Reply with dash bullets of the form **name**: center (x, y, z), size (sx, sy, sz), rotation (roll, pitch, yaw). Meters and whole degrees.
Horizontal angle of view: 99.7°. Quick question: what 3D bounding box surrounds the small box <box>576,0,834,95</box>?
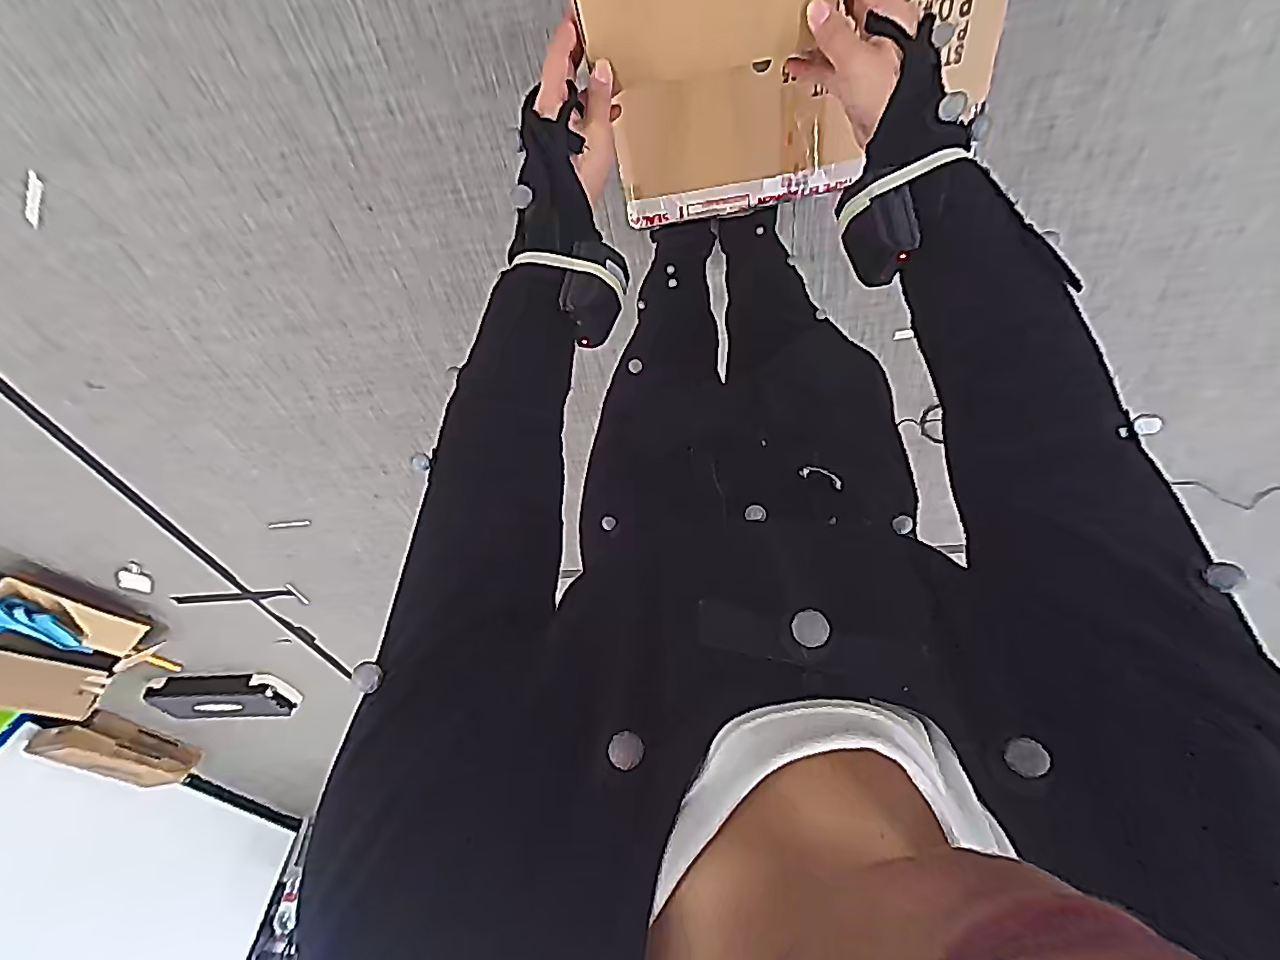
- **small box**: center (0.039, -0.412, 0.386), size (0.179, 0.176, 0.168), rotation (-5, 140, 9)
